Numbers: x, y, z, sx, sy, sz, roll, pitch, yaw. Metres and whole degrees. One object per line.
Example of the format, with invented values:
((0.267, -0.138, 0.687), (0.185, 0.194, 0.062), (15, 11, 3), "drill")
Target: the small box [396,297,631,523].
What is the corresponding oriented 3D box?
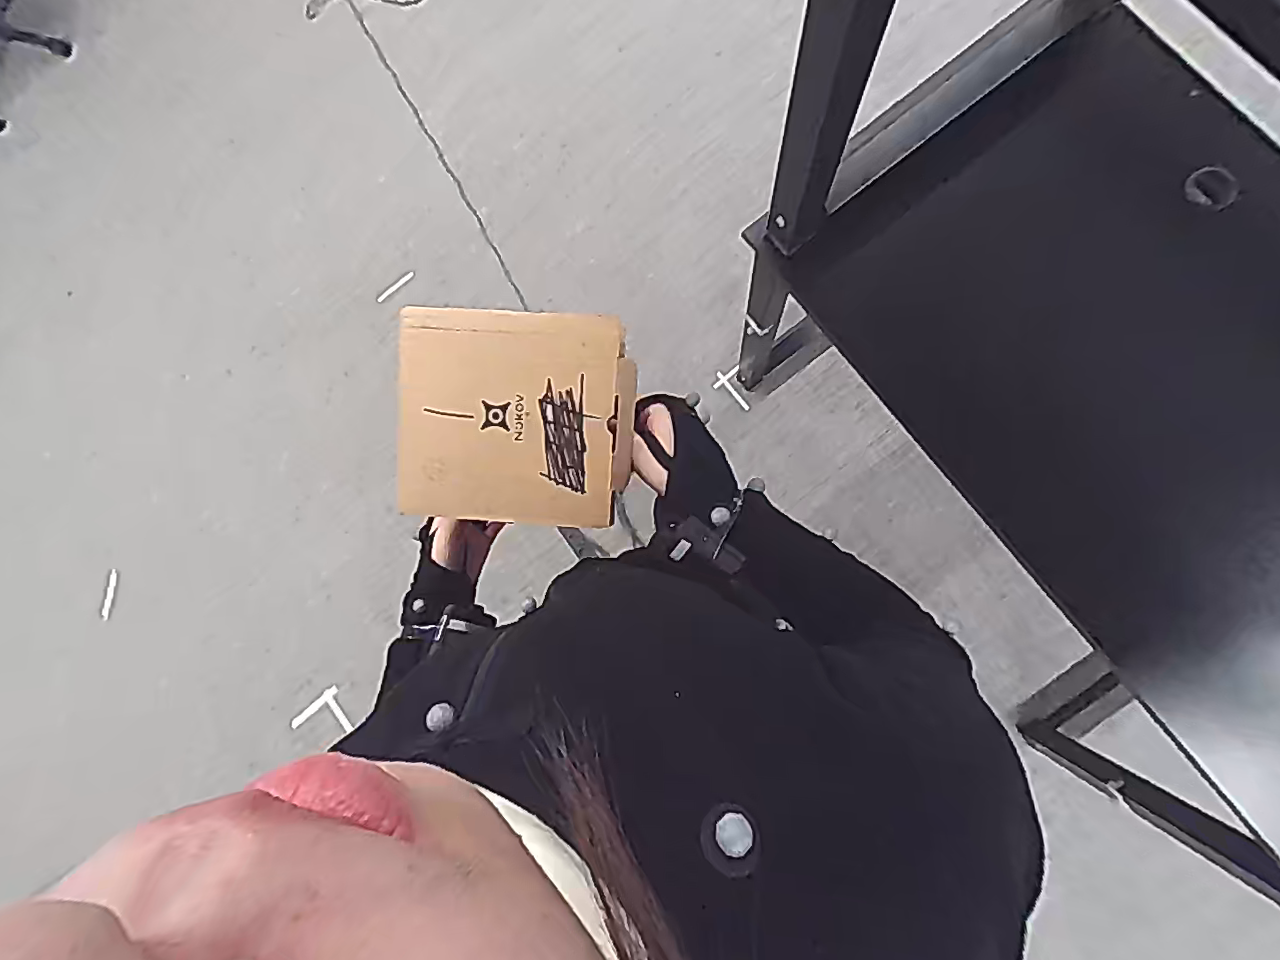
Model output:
((-0.103, -0.061, 0.497), (0.179, 0.176, 0.168), (3, 96, -3), "small box")
